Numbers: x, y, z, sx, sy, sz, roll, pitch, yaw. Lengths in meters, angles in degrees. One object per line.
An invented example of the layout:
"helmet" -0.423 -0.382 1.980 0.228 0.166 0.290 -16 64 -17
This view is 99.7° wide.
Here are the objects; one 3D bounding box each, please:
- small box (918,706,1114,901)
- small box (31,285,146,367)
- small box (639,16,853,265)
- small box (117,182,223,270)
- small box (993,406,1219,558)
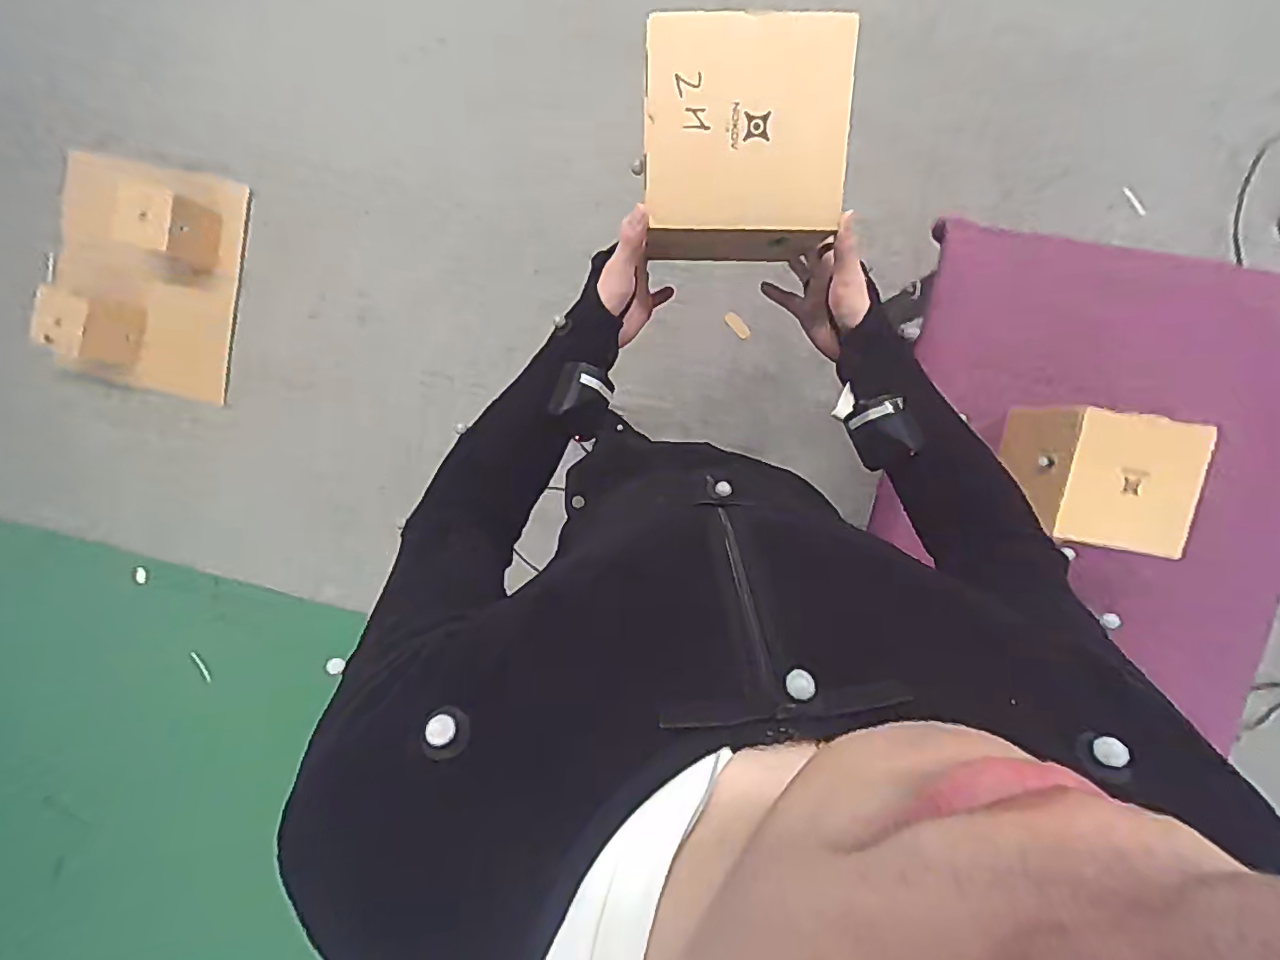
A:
"small box" 0.561 0.484 0.836 0.168 0.176 0.179 14 97 3
"small box" -1.667 -0.461 1.645 0.168 0.176 0.179 21 97 3
"small box" 0.088 -0.316 0.538 0.179 0.176 0.168 1 102 2
"small box" -1.379 -0.741 1.595 0.168 0.176 0.179 14 97 3
"small box" 0.650 -0.004 0.781 0.168 0.176 0.179 10 96 4
